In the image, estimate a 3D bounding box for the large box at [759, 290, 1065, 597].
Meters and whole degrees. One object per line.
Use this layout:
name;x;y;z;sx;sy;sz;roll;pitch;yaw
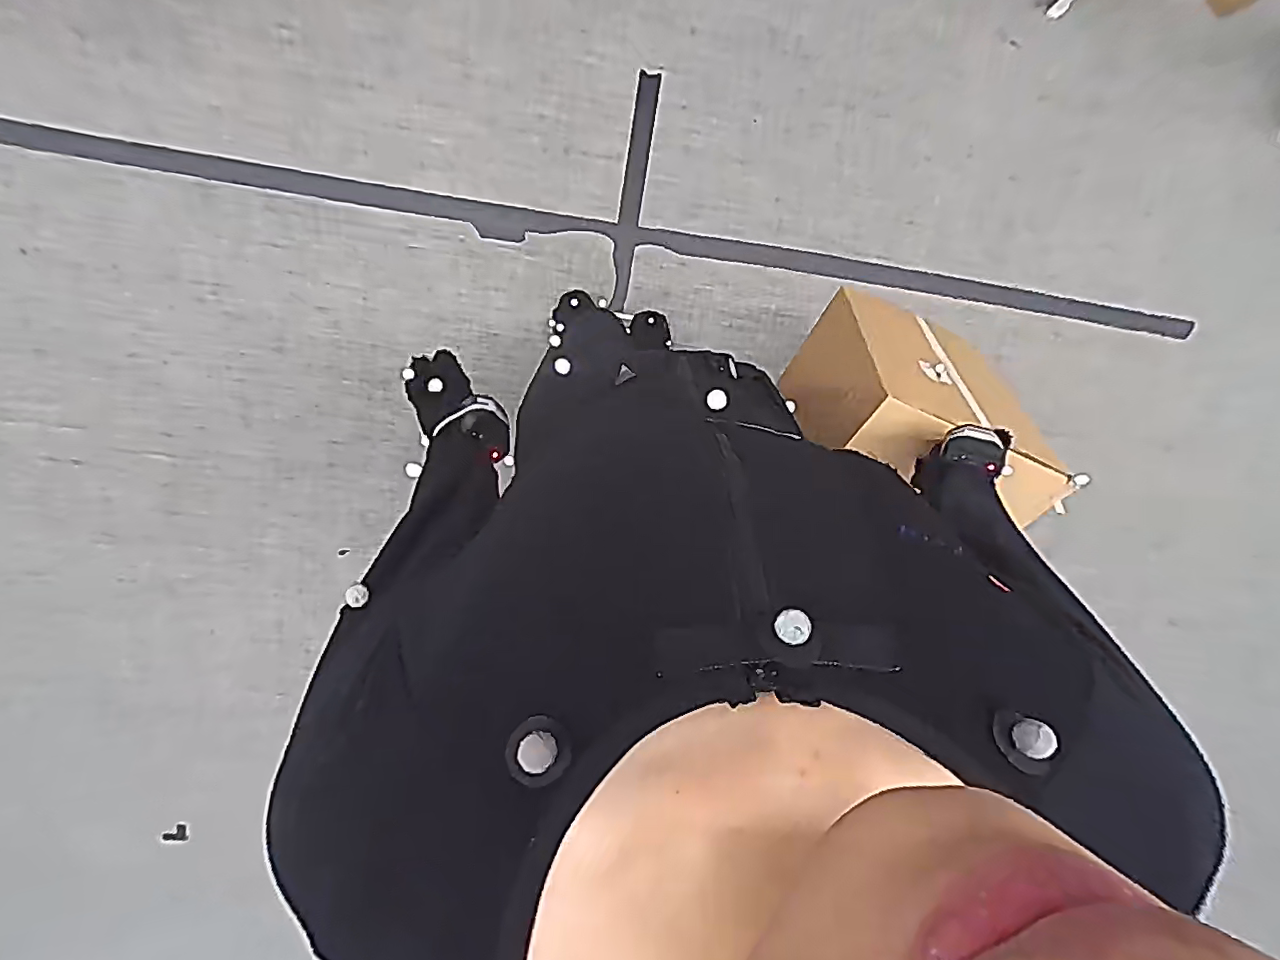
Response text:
large box;0.431;-0.071;0.980;0.320;0.408;0.320;21;132;-9
